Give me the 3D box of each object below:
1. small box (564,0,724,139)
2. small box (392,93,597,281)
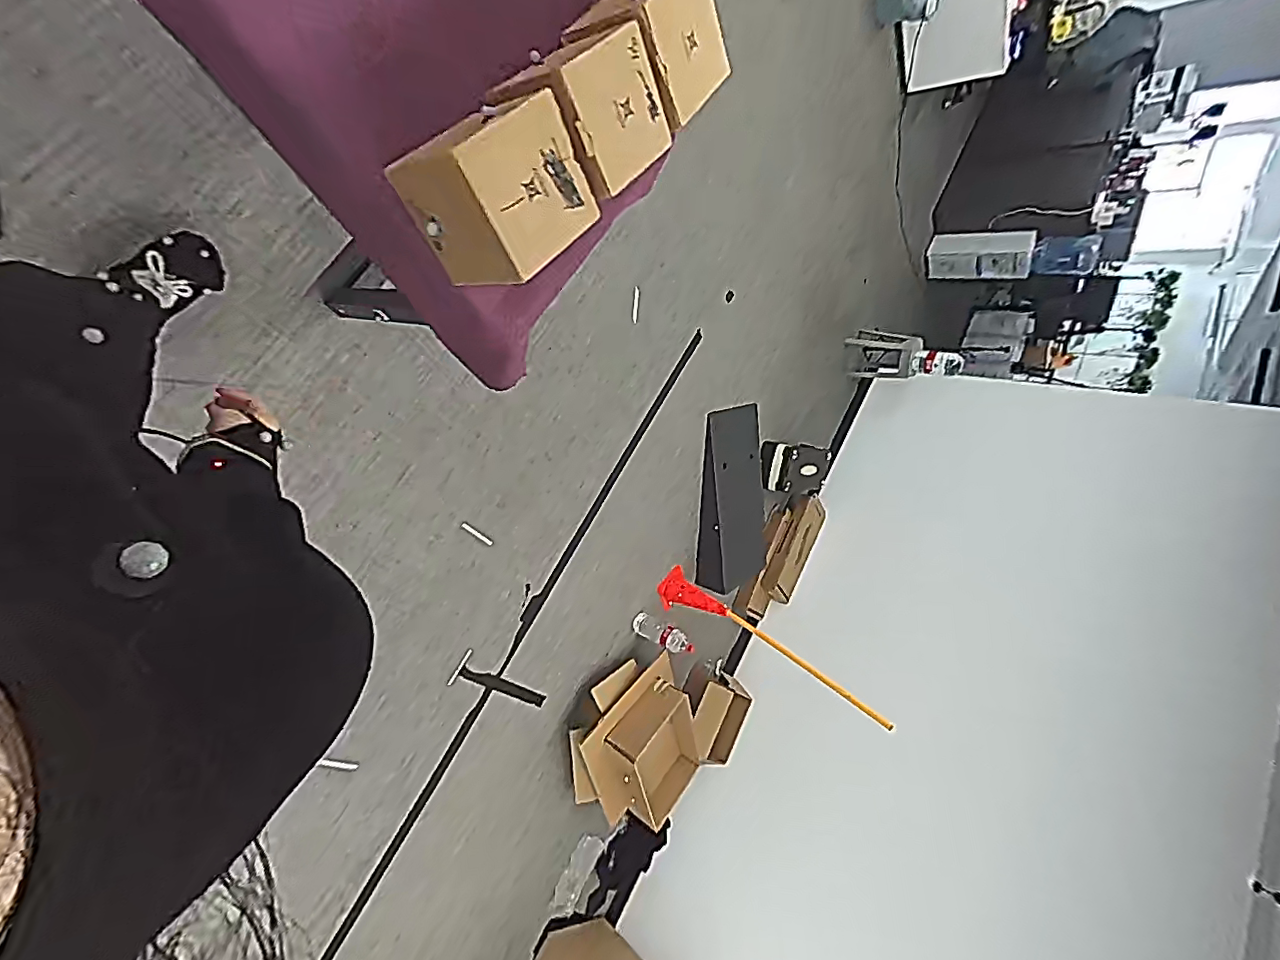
[{"bbox_3d":[0.008,-0.693,0.882,0.179,0.176,0.168,-57,141,-20],"label":"small box"},{"bbox_3d":[-0.197,-0.393,0.742,0.179,0.176,0.168,-52,136,-26],"label":"small box"}]
